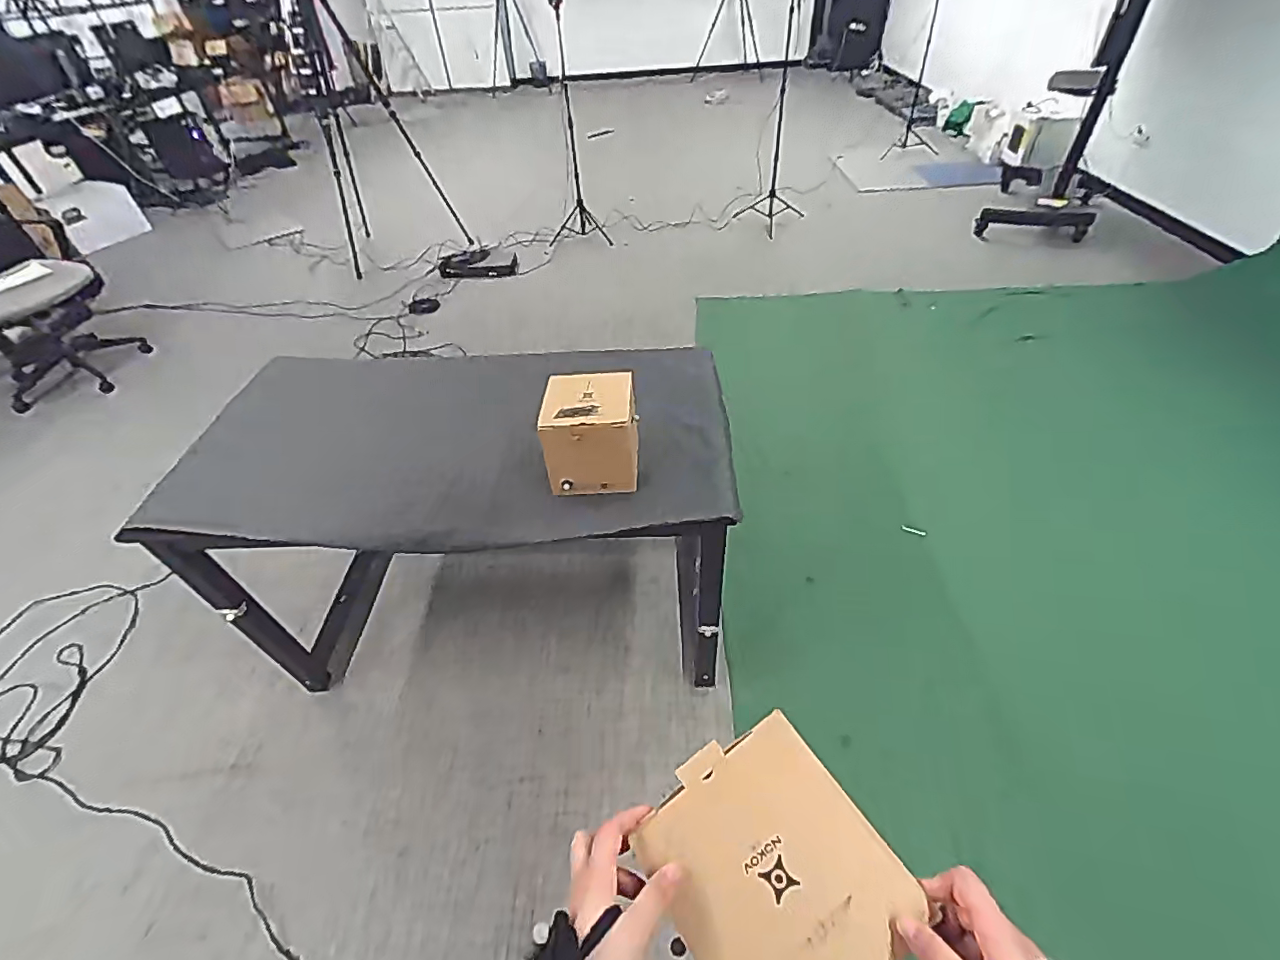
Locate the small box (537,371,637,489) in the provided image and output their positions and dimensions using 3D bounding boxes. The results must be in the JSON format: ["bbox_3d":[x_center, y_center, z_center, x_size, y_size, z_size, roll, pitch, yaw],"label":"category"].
[{"bbox_3d":[-0.093,-0.093,1.058,0.168,0.176,0.179,-2,42,3],"label":"small box"}]
